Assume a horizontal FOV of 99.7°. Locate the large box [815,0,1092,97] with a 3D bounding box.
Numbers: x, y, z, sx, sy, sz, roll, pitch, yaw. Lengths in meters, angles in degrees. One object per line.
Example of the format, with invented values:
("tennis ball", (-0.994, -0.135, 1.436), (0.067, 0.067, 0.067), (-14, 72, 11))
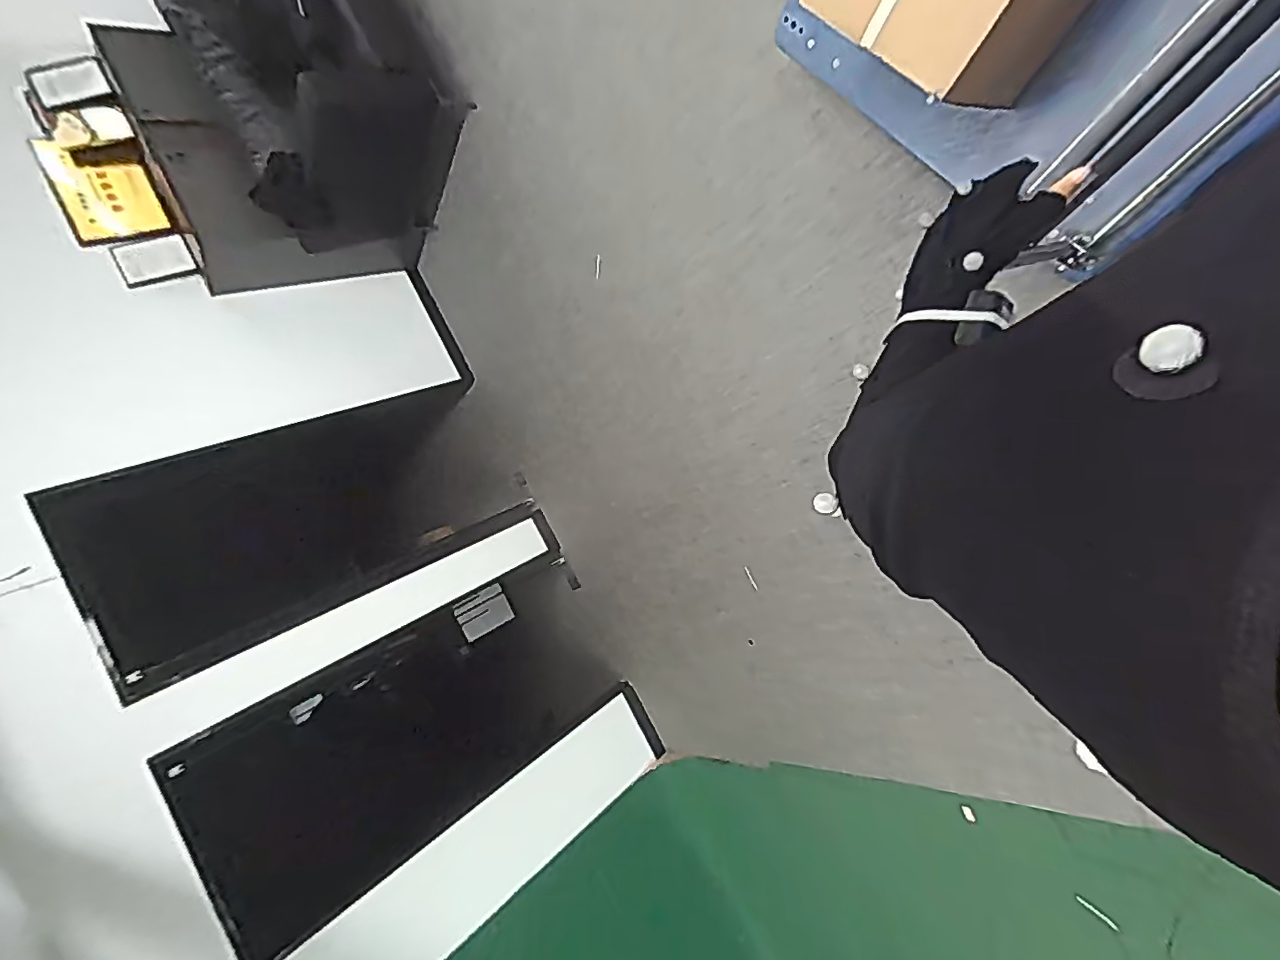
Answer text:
("large box", (0.550, -0.862, 0.794), (0.320, 0.320, 0.408), (52, 144, 18))
